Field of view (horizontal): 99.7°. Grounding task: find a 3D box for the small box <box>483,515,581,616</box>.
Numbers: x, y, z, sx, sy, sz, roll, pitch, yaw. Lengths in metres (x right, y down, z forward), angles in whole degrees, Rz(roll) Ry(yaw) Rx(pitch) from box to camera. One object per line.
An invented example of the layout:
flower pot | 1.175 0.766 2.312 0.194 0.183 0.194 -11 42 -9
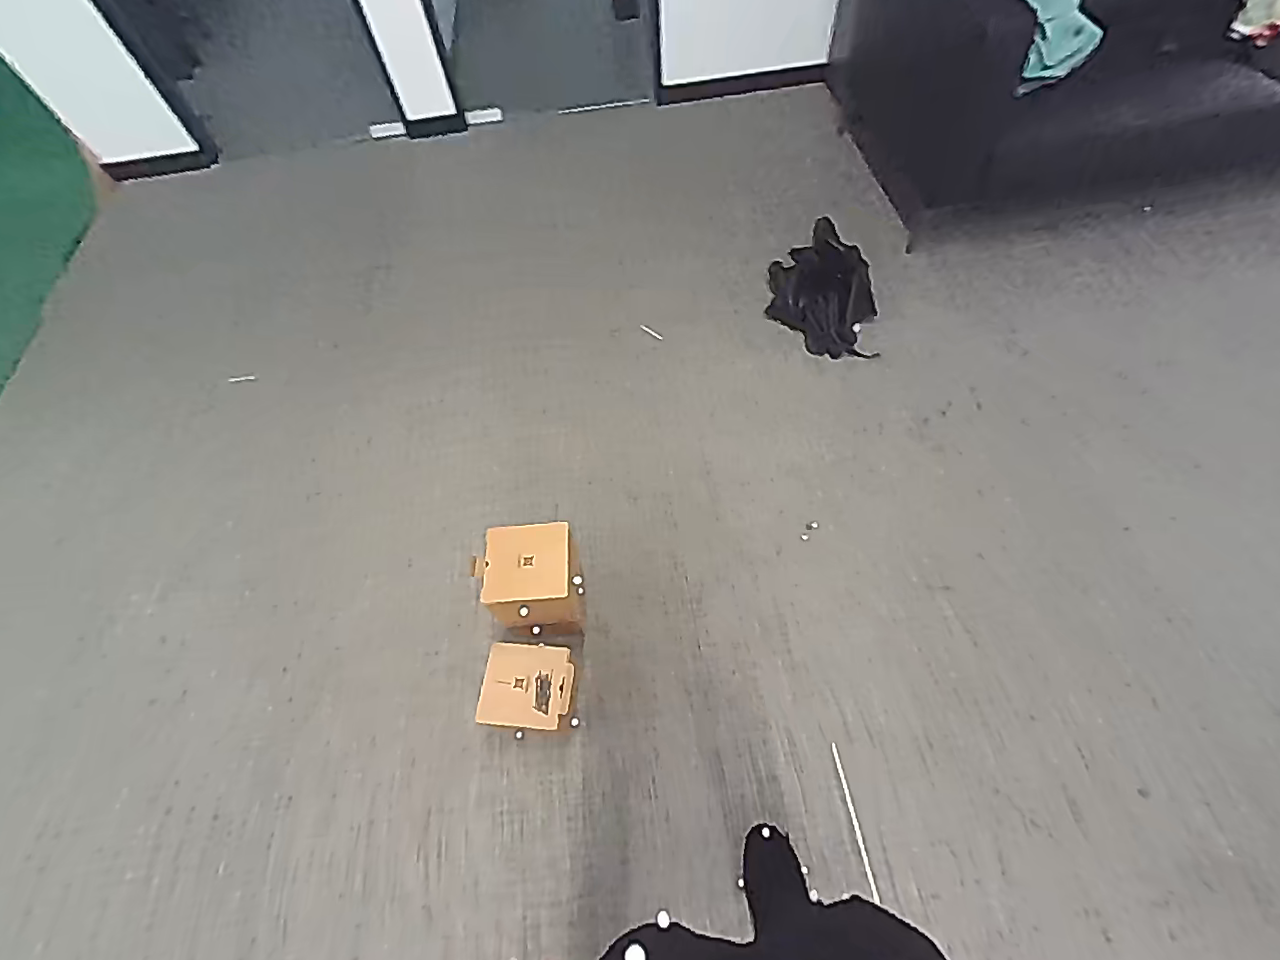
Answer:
small box | -0.223 0.189 1.166 0.179 0.176 0.168 -5 61 2

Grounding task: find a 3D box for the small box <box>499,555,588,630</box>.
small box | -0.228 0.261 1.314 0.179 0.176 0.168 -5 60 2
